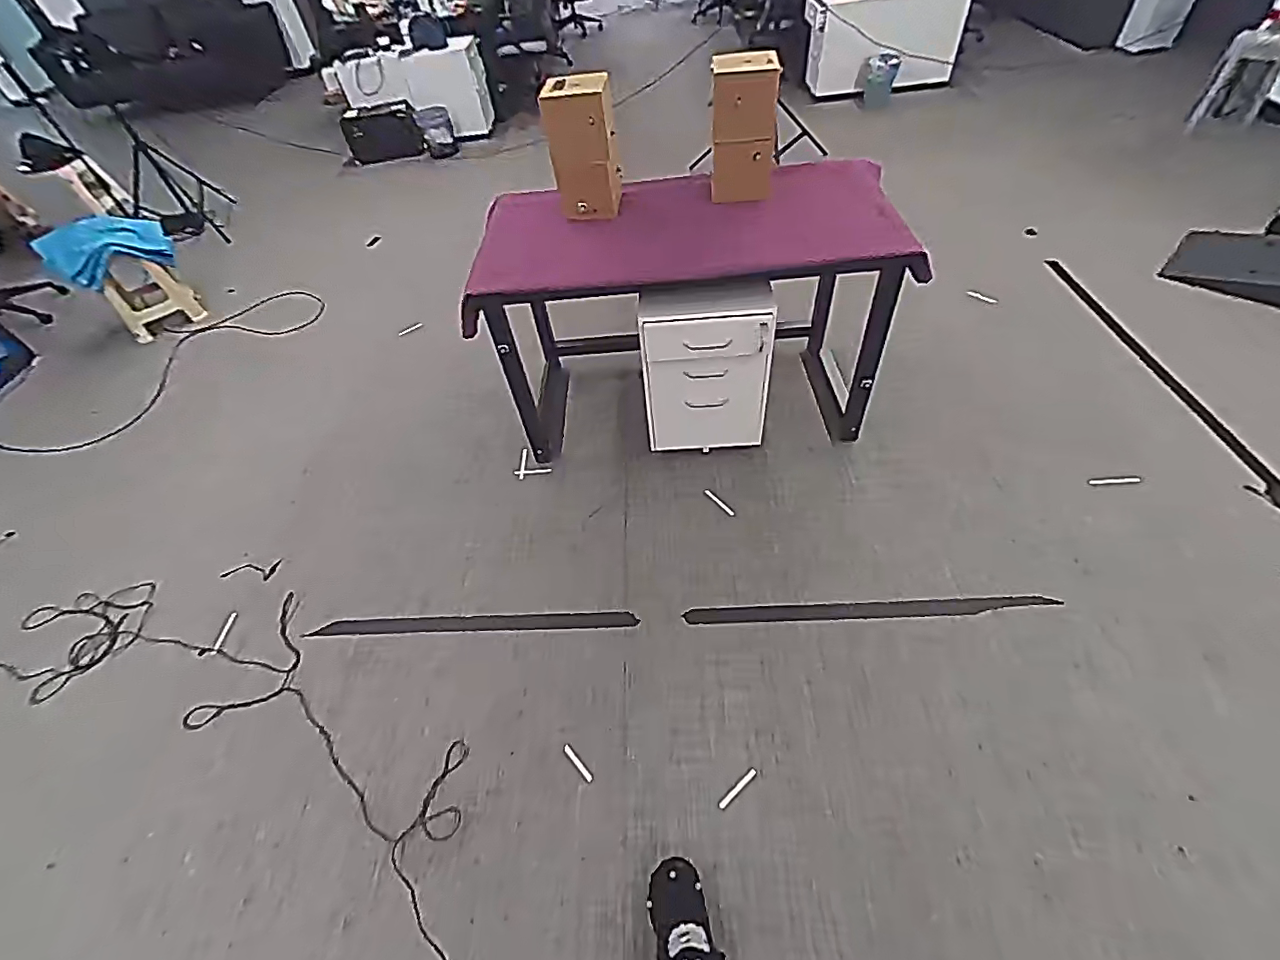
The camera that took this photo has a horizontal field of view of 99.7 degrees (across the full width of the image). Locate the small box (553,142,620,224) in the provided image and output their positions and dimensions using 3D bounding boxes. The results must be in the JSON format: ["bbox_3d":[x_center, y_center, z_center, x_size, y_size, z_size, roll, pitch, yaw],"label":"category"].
[{"bbox_3d":[-0.159,-0.916,1.673,0.168,0.176,0.179,0,52,8],"label":"small box"}]

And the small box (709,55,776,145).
[{"bbox_3d":[0.286,-1.068,1.527,0.179,0.176,0.168,-1,51,8],"label":"small box"}]

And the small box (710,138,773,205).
[{"bbox_3d":[0.303,-0.962,1.652,0.179,0.176,0.168,-1,50,7],"label":"small box"}]
